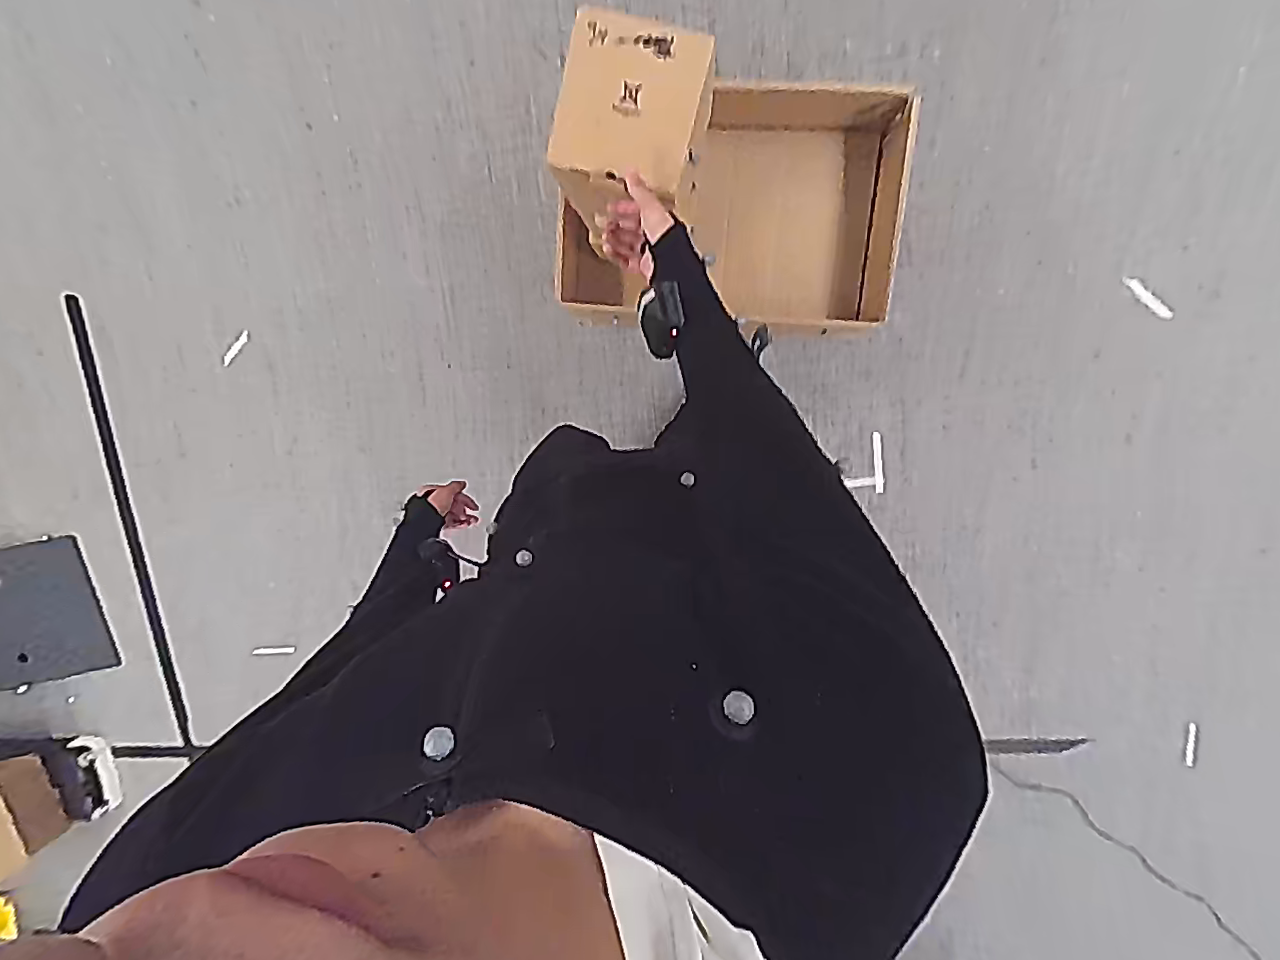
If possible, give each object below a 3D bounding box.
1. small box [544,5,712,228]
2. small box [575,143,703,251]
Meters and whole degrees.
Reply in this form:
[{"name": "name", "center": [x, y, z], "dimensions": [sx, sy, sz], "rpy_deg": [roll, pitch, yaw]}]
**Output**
[{"name": "small box", "center": [-0.008, -0.455, 0.710], "dimensions": [0.168, 0.176, 0.179], "rpy_deg": [16, 101, 3]}, {"name": "small box", "center": [0.006, -0.488, 0.871], "dimensions": [0.168, 0.176, 0.179], "rpy_deg": [12, 100, 3]}]
